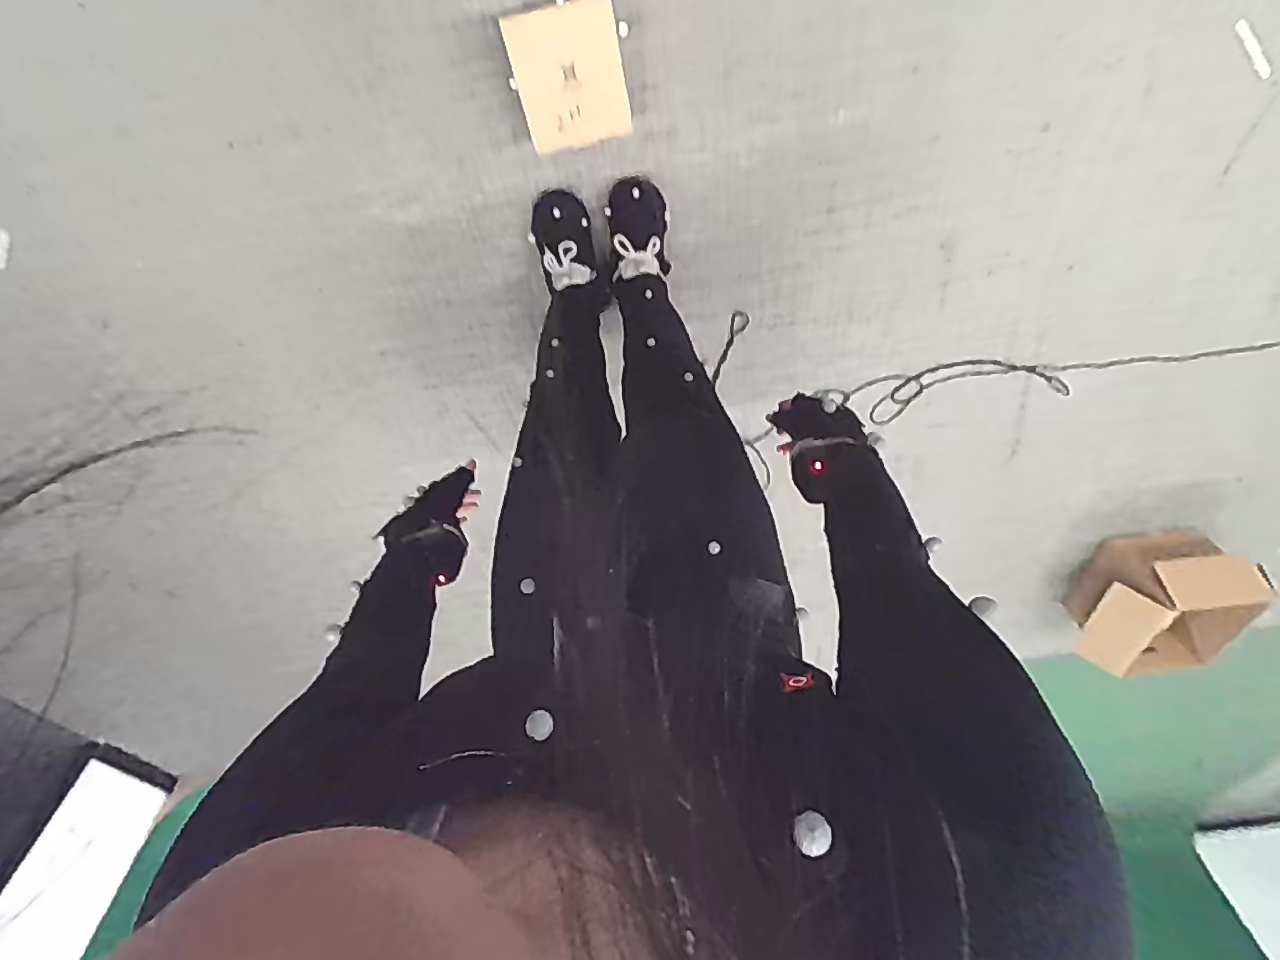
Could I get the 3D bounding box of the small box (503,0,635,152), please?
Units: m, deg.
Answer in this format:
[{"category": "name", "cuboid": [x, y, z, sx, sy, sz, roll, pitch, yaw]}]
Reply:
[{"category": "small box", "cuboid": [-0.108, -0.662, 0.877, 0.168, 0.176, 0.179, -10, 132, 5]}]
